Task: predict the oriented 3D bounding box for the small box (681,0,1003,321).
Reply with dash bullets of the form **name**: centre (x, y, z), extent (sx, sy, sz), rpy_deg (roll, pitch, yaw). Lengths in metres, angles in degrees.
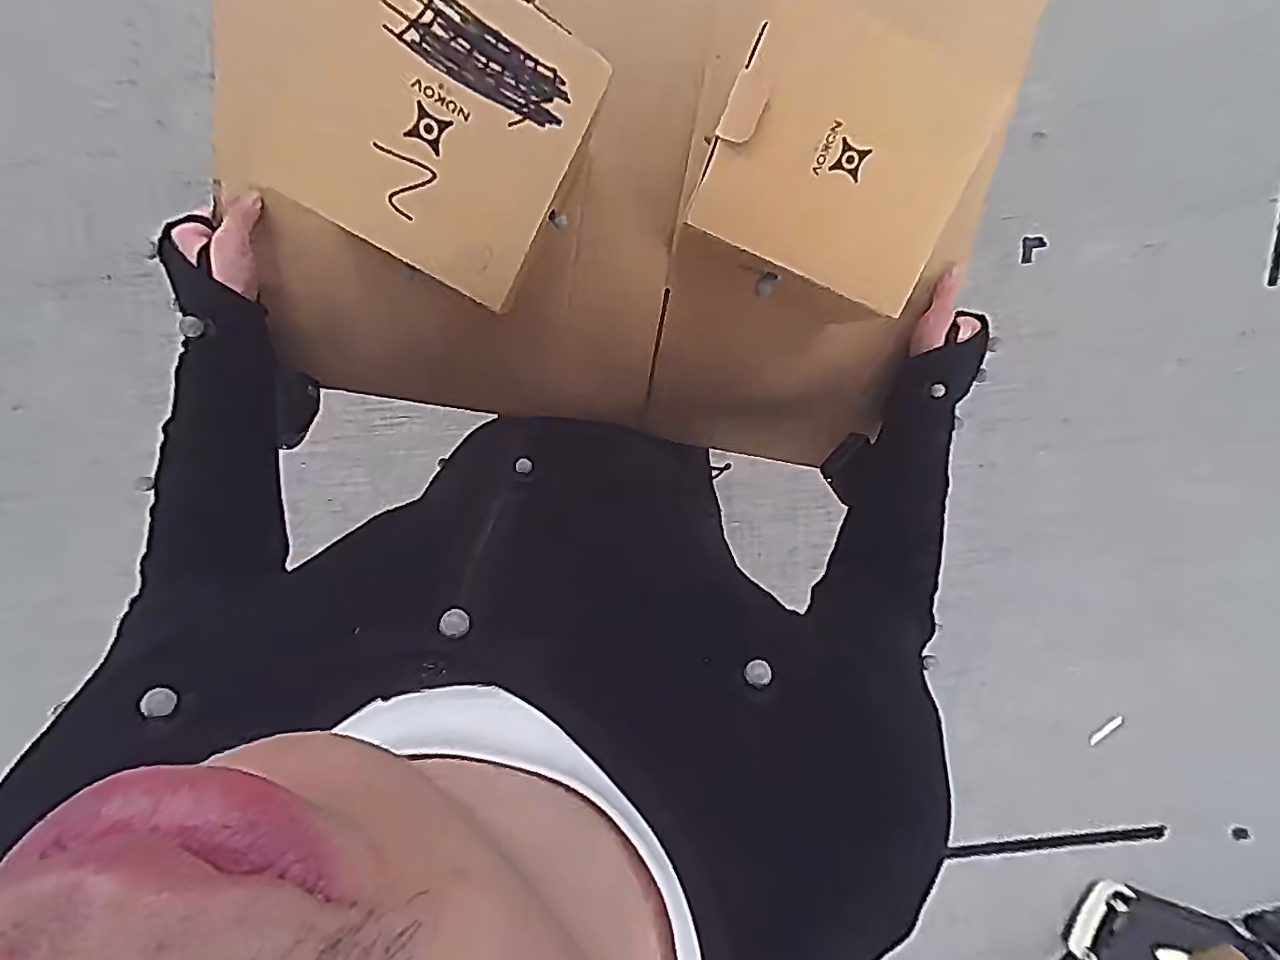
- **small box**: centre (0.147, -0.248, 0.466), extent (0.179, 0.176, 0.168), rpy_deg (23, 104, -3)
